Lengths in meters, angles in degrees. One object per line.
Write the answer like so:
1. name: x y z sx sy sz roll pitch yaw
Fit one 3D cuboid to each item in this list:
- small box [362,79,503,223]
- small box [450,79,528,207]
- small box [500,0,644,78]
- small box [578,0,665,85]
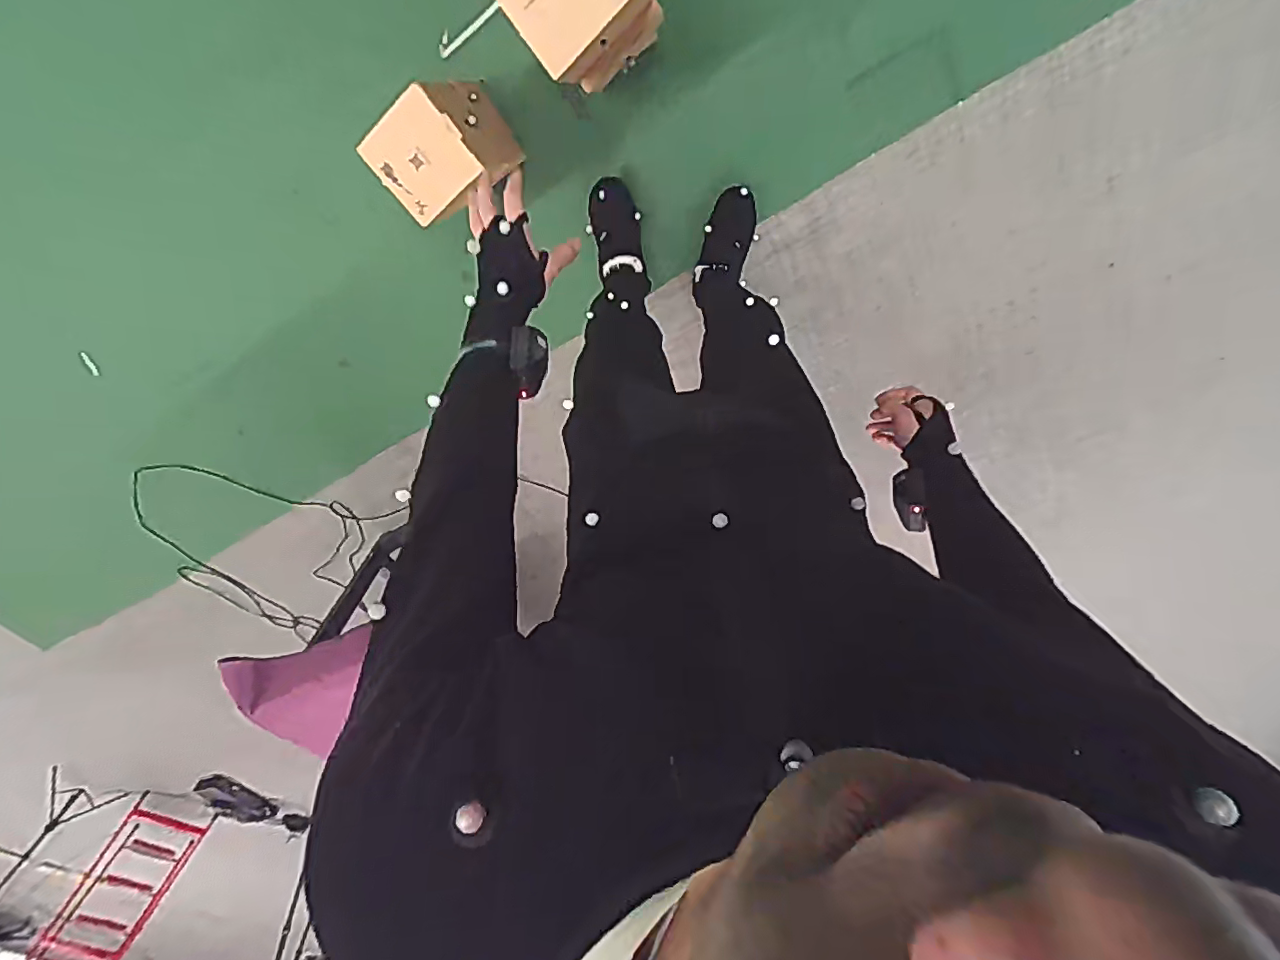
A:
1. small box: -0.387 -0.638 1.048 0.179 0.176 0.168 -29 118 23
2. small box: -0.370 -0.736 1.179 0.168 0.176 0.179 -26 119 23
3. small box: -0.099 -0.711 0.760 0.179 0.176 0.168 -31 118 25
4. small box: -0.075 -0.799 0.900 0.168 0.176 0.179 -34 118 26
